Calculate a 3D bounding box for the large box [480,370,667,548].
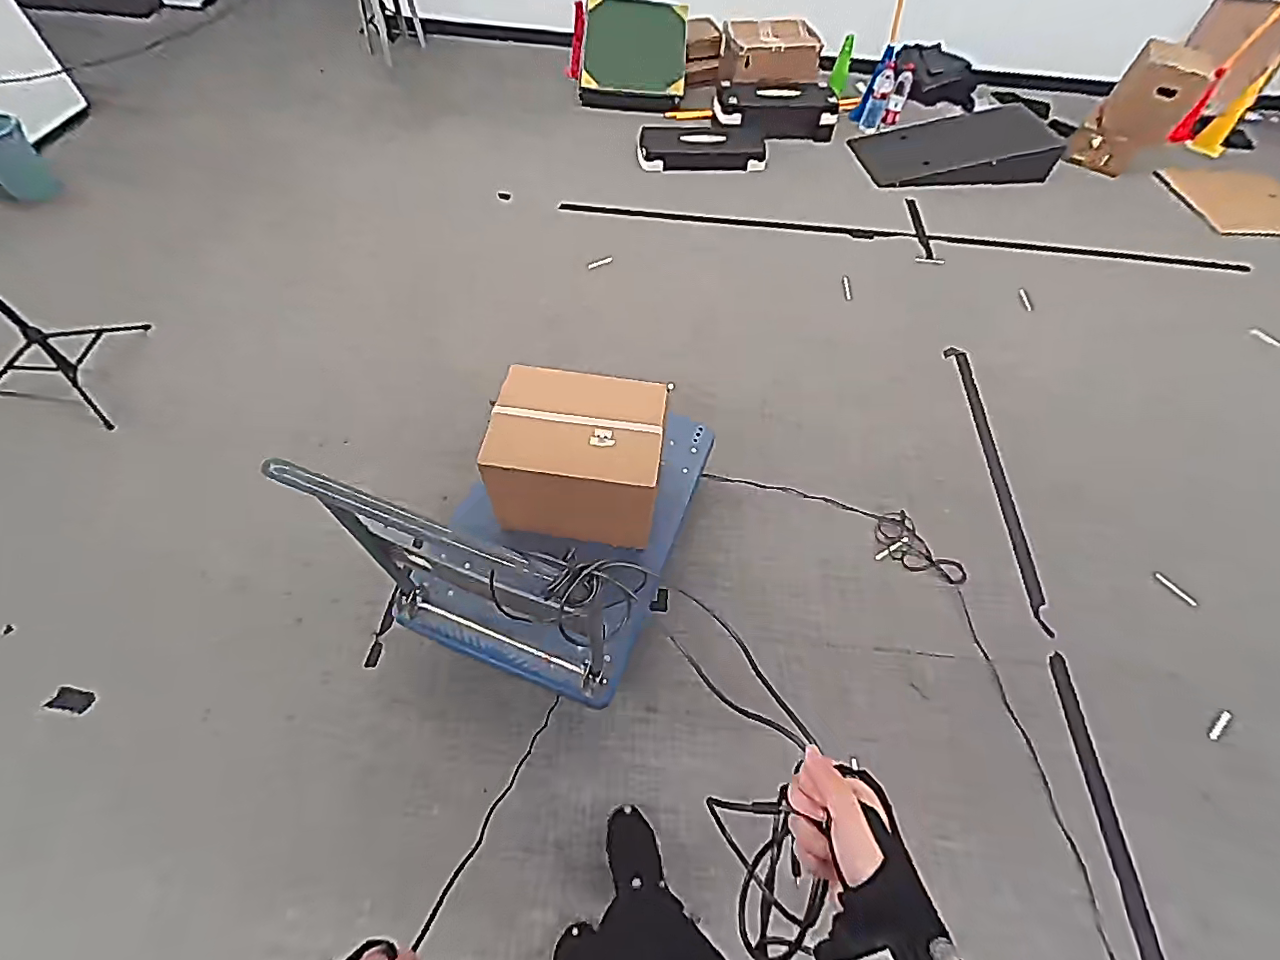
[{"bbox_3d":[-0.155,-0.046,1.396,0.408,0.320,0.320,8,57,1],"label":"large box"}]
